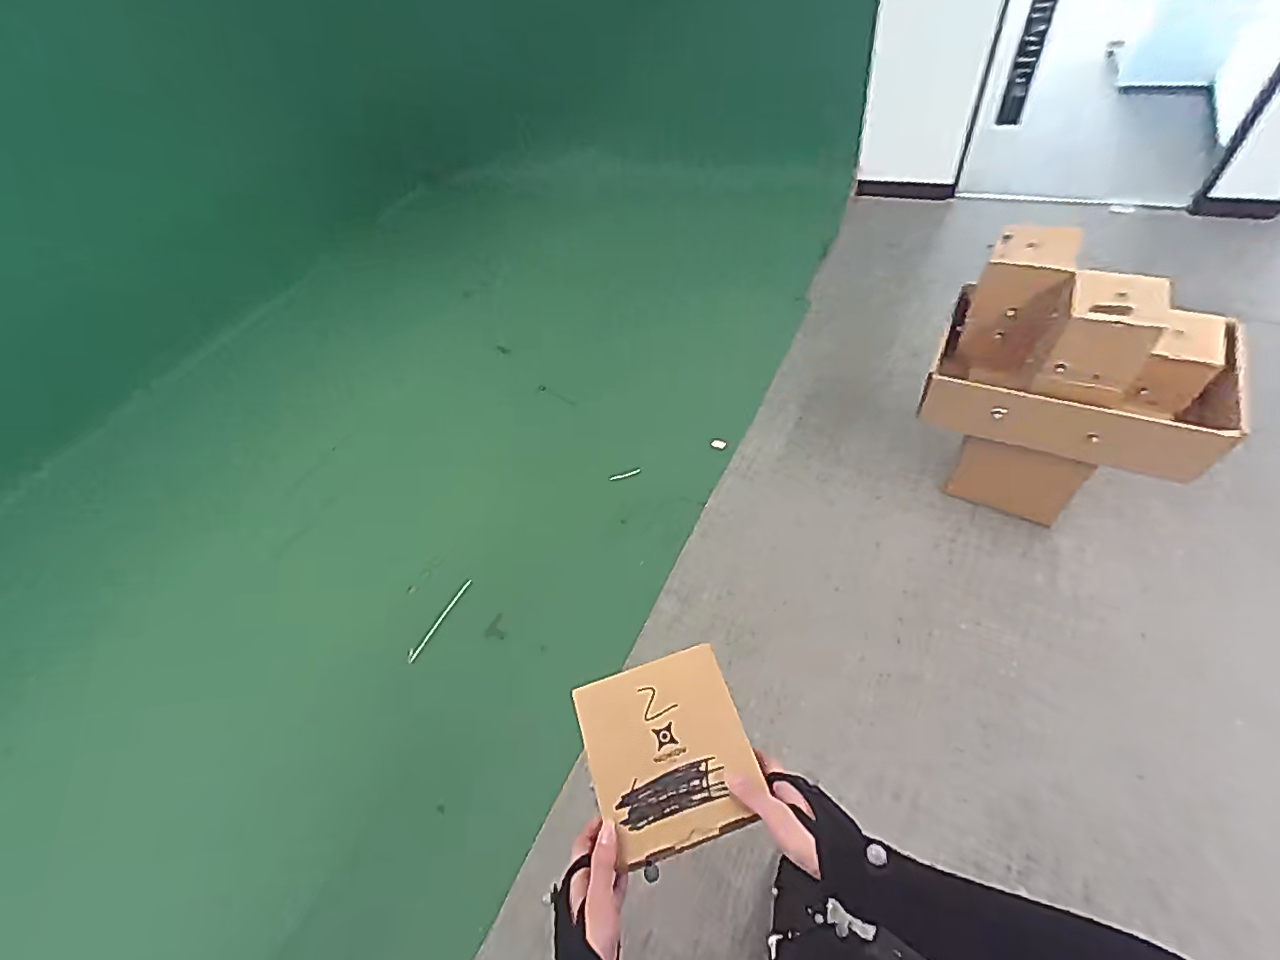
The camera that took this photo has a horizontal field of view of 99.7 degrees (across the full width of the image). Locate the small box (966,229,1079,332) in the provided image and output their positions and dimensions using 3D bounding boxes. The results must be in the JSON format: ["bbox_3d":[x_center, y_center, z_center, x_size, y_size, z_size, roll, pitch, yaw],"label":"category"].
[{"bbox_3d":[0.953,-0.497,1.357,0.179,0.176,0.168,19,61,23],"label":"small box"}]

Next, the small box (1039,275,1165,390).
[{"bbox_3d":[1.027,-0.328,1.213,0.168,0.176,0.179,18,59,23],"label":"small box"}]
